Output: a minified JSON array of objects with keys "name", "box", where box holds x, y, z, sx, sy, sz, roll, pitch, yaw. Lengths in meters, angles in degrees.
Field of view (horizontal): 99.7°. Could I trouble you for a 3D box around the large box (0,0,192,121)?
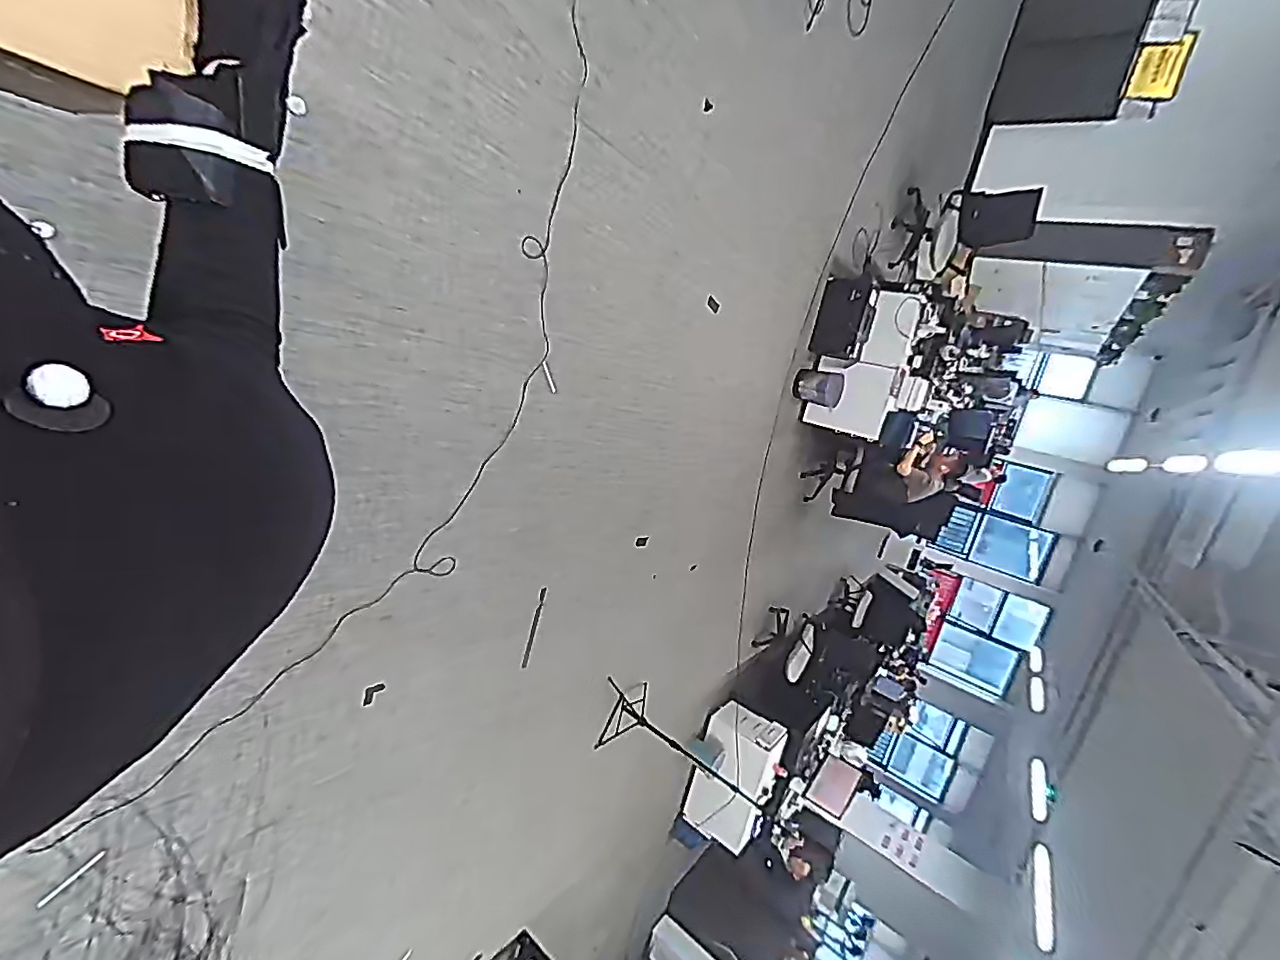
[{"name":"large box","box":[-0.516,-0.430,0.258,0.408,0.320,0.320,-9,119,-56]}]
